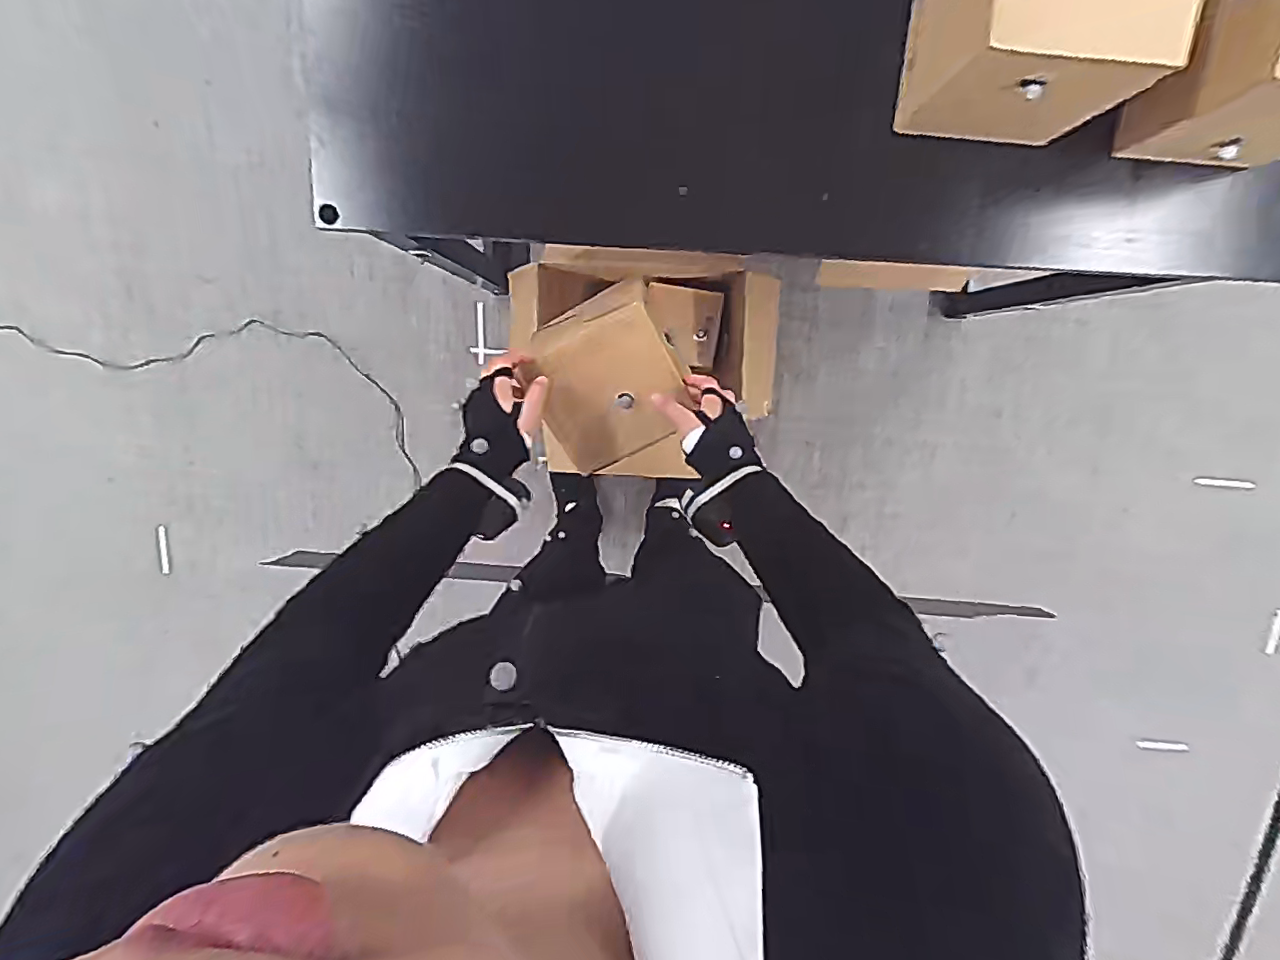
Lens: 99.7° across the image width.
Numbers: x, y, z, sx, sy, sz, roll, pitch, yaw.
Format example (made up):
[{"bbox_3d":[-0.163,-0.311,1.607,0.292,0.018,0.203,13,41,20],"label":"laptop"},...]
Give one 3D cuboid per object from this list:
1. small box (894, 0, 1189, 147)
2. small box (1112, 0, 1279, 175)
[{"bbox_3d":[0.377,-0.450,0.526,0.179,0.176,0.168,5,102,-2],"label":"small box"},{"bbox_3d":[0.622,-0.430,0.529,0.168,0.176,0.179,5,101,0],"label":"small box"}]
